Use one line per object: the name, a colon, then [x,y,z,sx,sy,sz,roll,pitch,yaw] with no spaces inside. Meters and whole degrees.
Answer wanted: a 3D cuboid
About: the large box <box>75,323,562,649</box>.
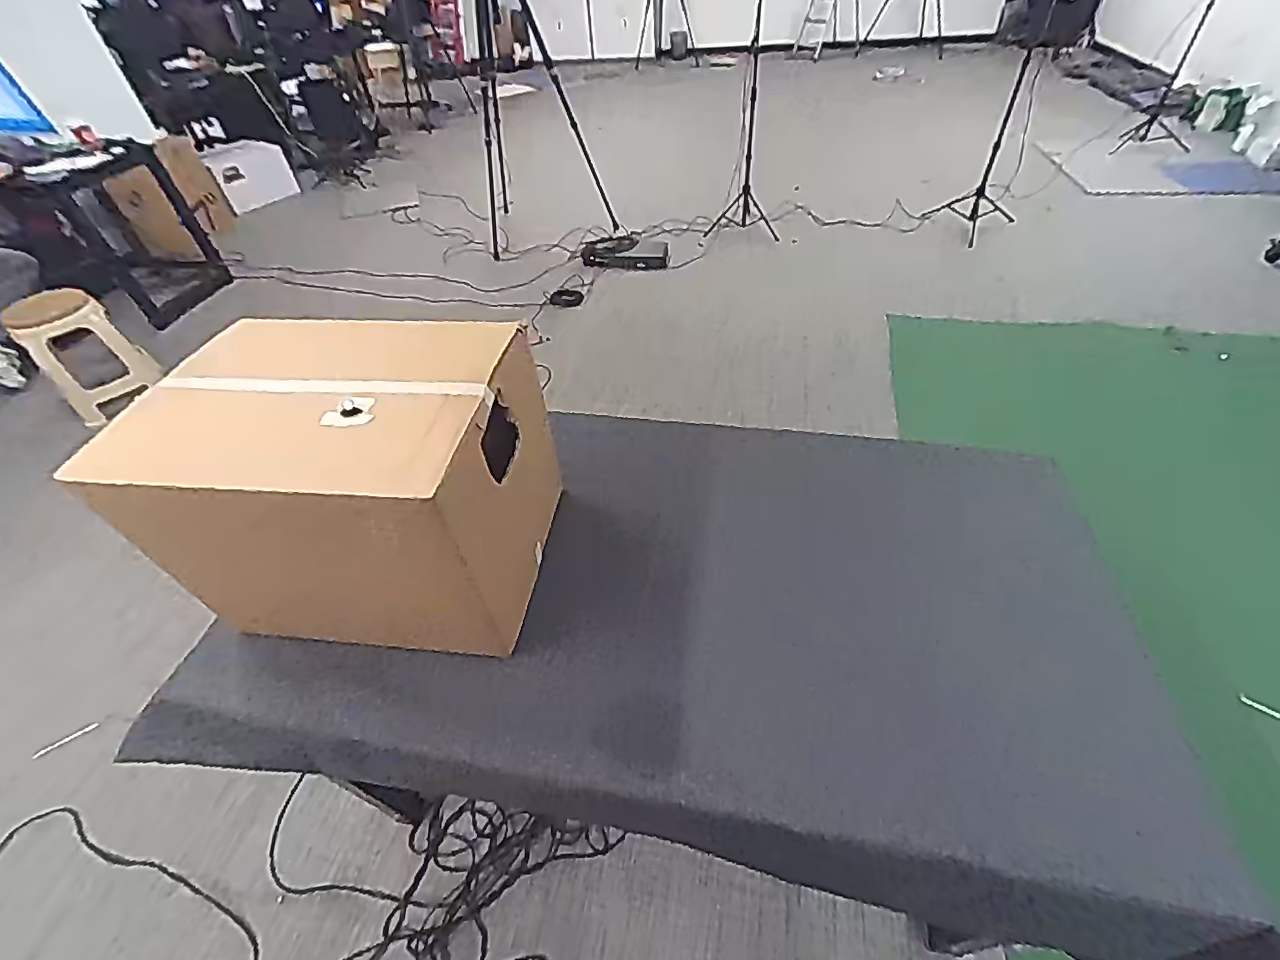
large box: [-0.347,0.005,0.726,0.408,0.320,0.320,3,46,6]
